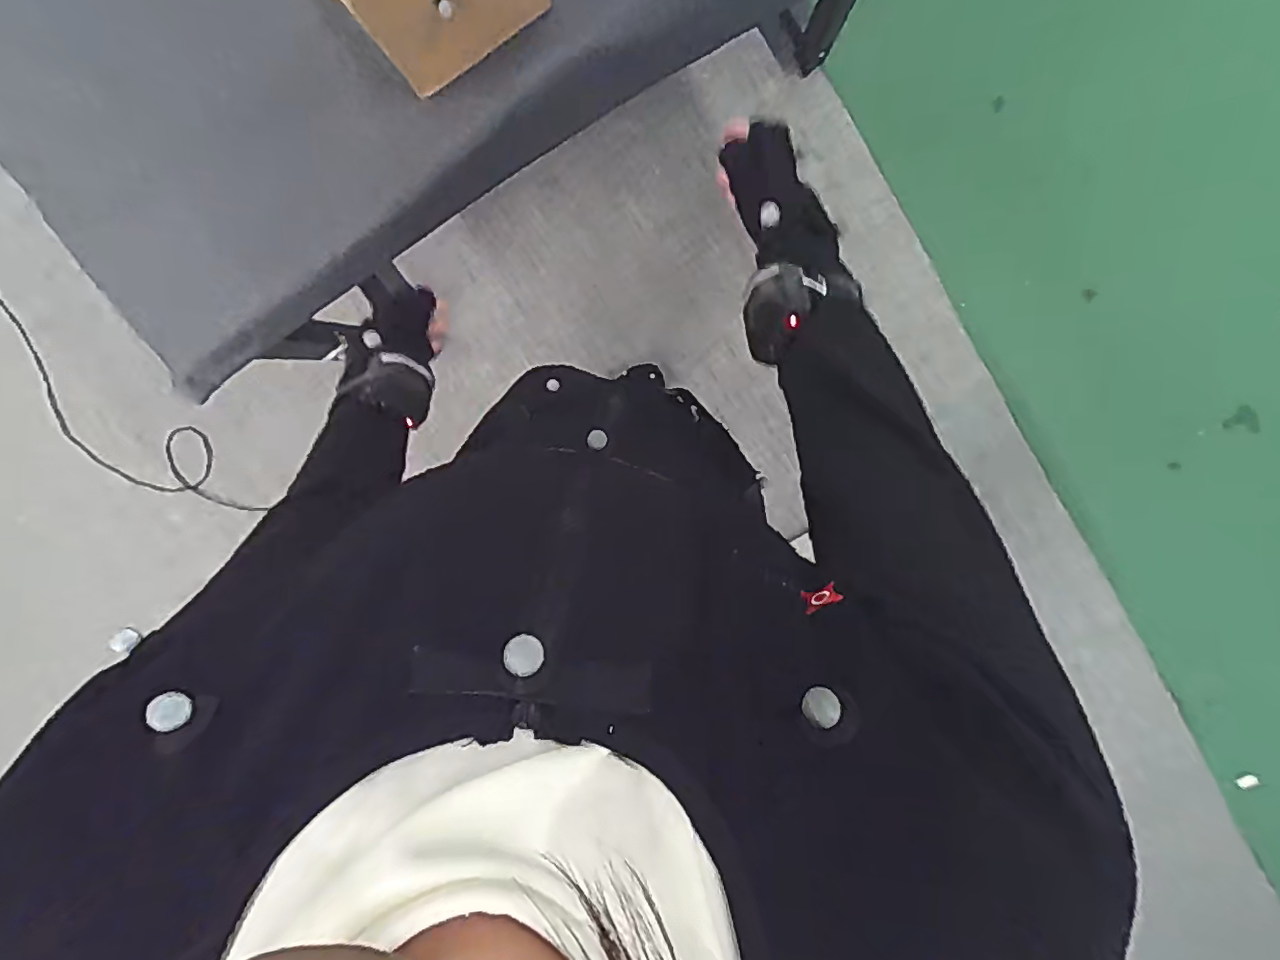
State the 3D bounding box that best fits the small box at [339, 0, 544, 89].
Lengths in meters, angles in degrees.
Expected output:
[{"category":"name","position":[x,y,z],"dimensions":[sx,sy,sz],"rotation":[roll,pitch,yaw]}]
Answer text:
[{"category":"small box","position":[-0.212,-0.524,0.507],"dimensions":[0.179,0.176,0.168],"rotation":[-31,98,9]}]
